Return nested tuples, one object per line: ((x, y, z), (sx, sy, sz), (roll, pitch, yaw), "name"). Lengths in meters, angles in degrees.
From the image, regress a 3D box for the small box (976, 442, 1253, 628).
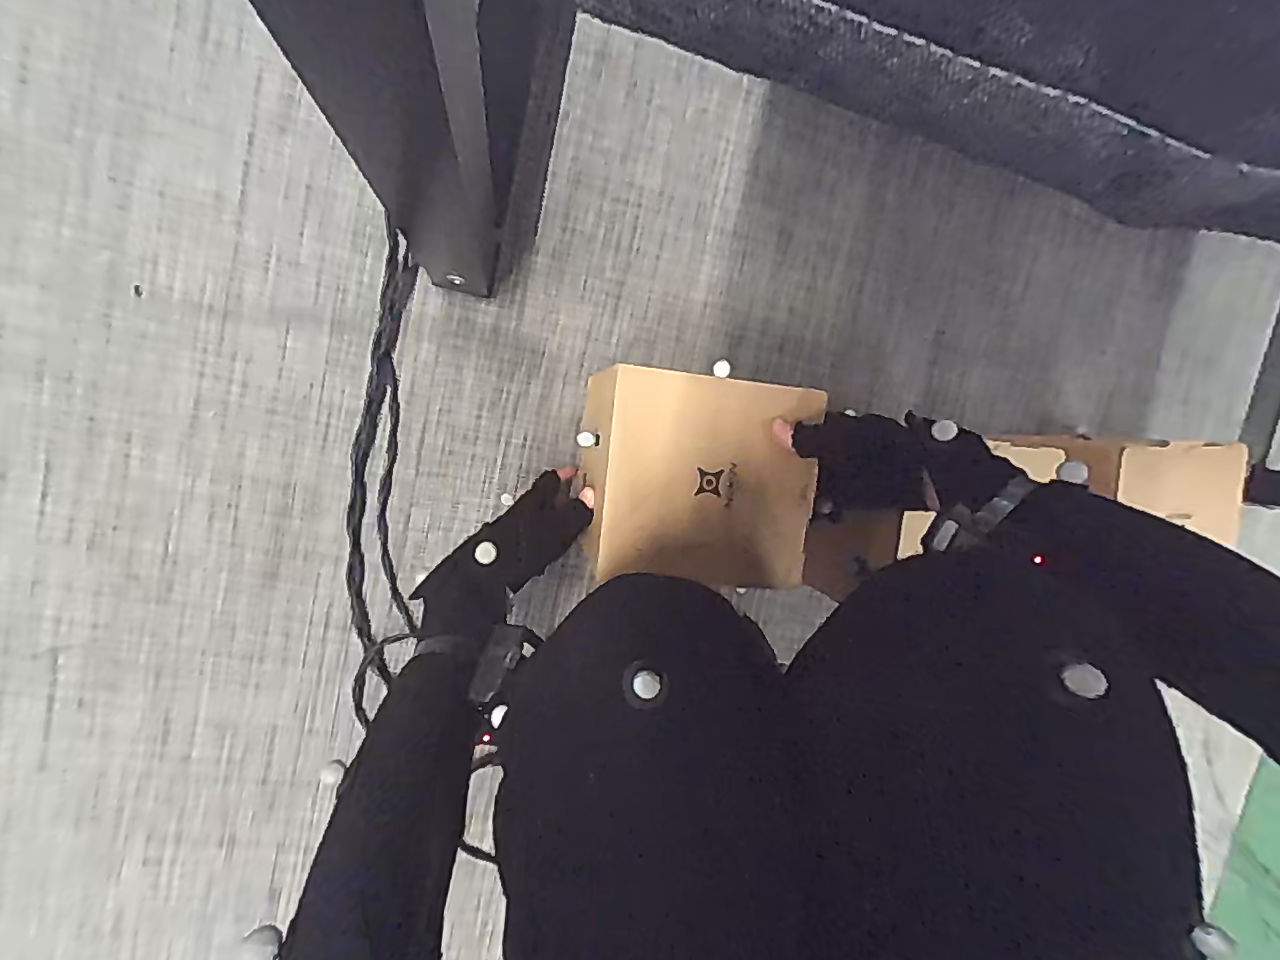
((0.512, 0.047, 0.606), (0.168, 0.176, 0.179), (-2, 97, -14), "small box")
